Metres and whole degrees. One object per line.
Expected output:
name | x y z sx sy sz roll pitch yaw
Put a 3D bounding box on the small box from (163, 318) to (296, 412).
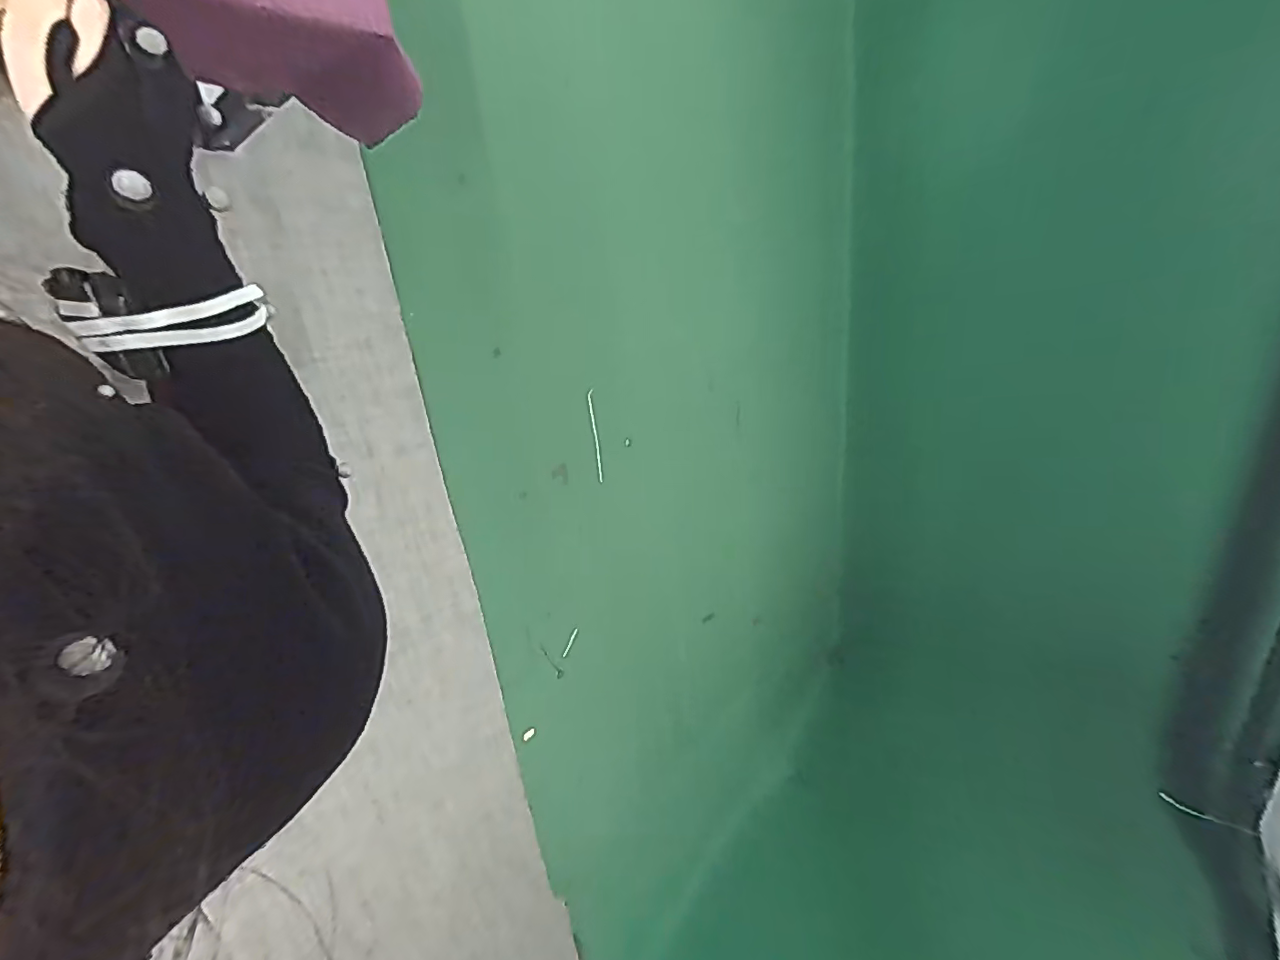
small box | -0.894 -0.253 1.174 0.179 0.176 0.168 -30 121 -43
